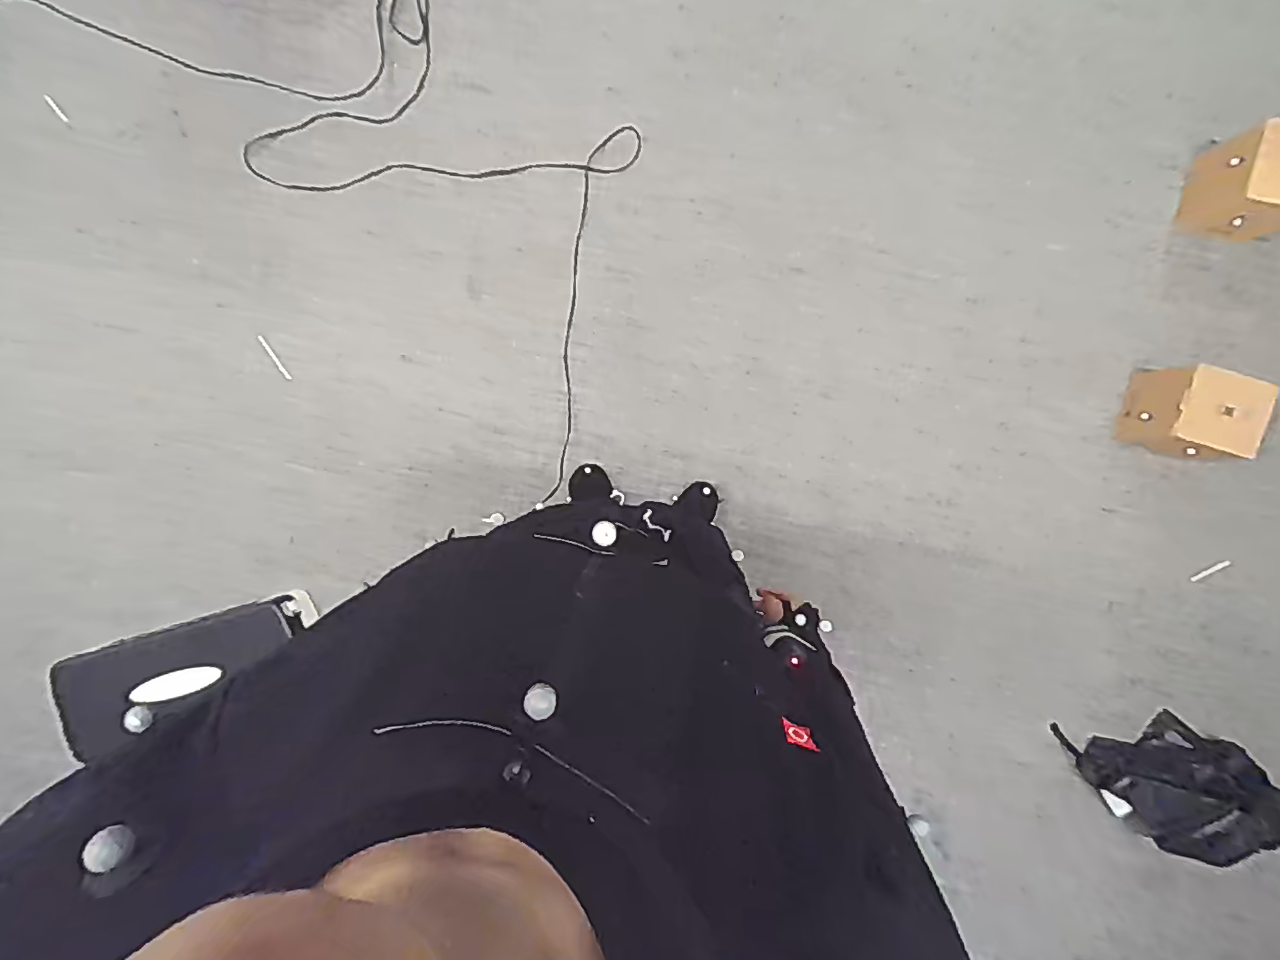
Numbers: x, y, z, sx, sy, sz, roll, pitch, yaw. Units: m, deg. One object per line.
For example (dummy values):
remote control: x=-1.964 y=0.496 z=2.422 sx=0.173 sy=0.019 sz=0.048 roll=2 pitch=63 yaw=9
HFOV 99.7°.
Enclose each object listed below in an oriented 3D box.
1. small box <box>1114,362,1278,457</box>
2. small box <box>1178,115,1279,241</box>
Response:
small box: x=1.245 y=-0.152 z=1.226 sx=0.179 sy=0.176 sz=0.168 roll=17 pitch=94 yaw=1
small box: x=1.368 y=-0.661 z=1.203 sx=0.168 sy=0.176 sz=0.179 roll=13 pitch=92 yaw=3
